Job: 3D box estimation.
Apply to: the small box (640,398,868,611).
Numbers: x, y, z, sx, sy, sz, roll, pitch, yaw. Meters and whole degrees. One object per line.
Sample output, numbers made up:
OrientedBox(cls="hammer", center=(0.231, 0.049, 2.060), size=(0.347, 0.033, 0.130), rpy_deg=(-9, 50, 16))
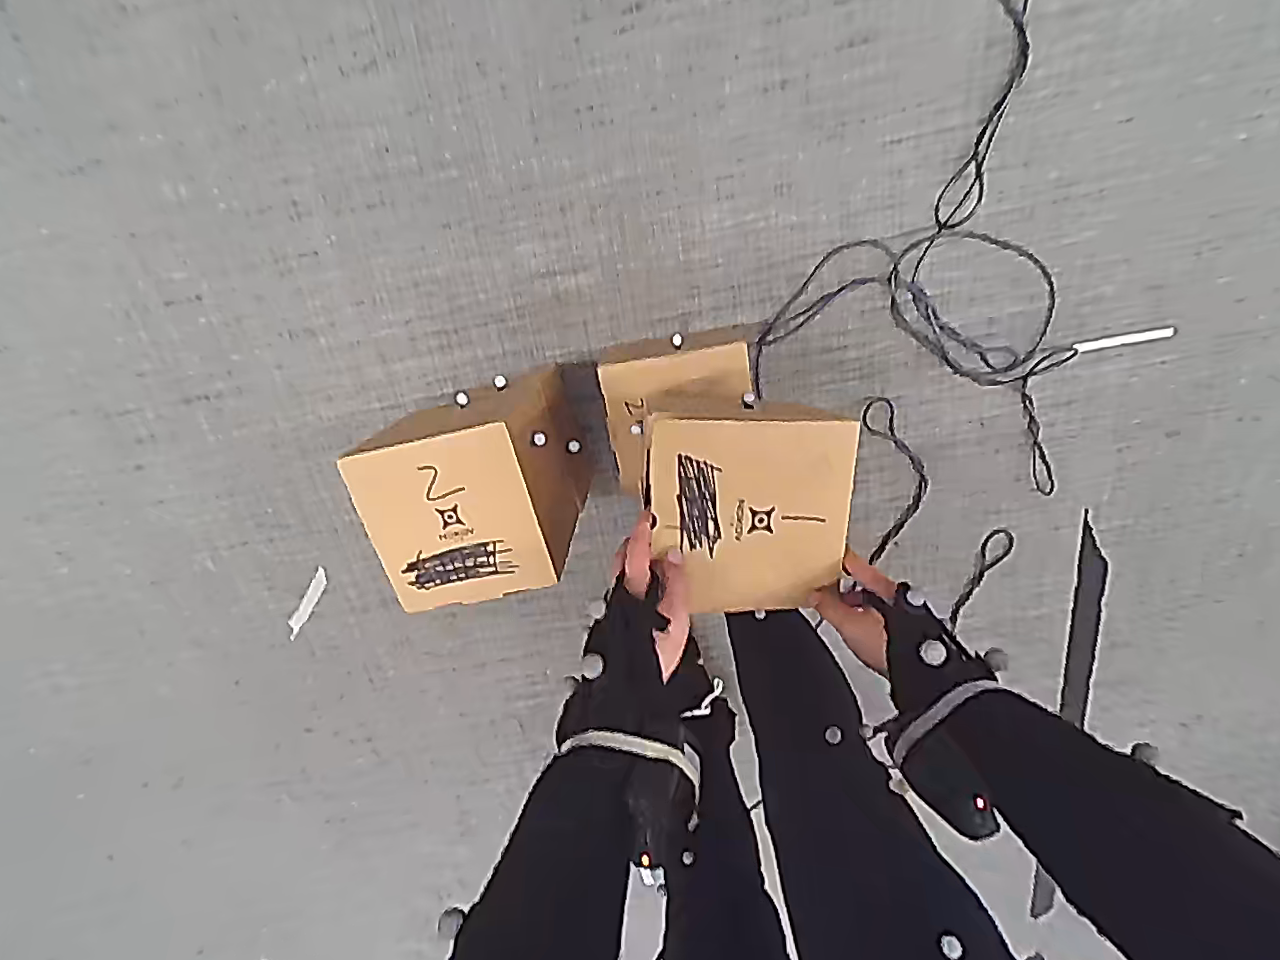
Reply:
OrientedBox(cls="small box", center=(0.090, 0.011, 0.521), size=(0.179, 0.176, 0.168), rpy_deg=(2, 103, -2))

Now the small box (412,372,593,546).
OrientedBox(cls="small box", center=(-0.172, -0.040, 0.740), size=(0.168, 0.176, 0.179), rpy_deg=(-16, 110, 7))

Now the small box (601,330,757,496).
OrientedBox(cls="small box", center=(0.053, -0.095, 0.710), size=(0.179, 0.176, 0.168), rpy_deg=(-8, 110, 5))
